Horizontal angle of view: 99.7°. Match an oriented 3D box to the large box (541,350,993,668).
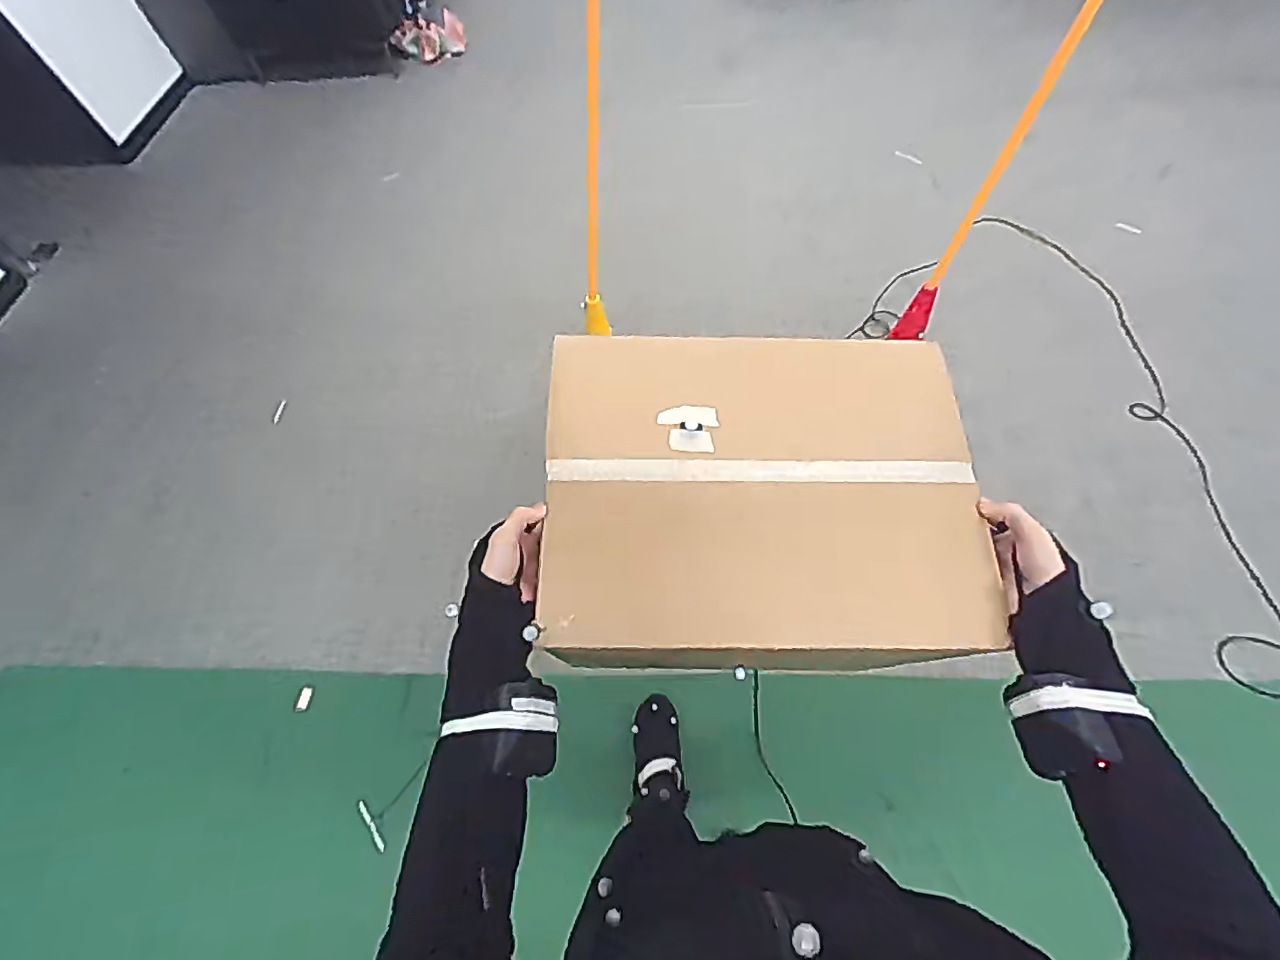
[{"bbox_3d":[0.111,0.060,0.662,0.408,0.320,0.320,0,67,0],"label":"large box"}]
